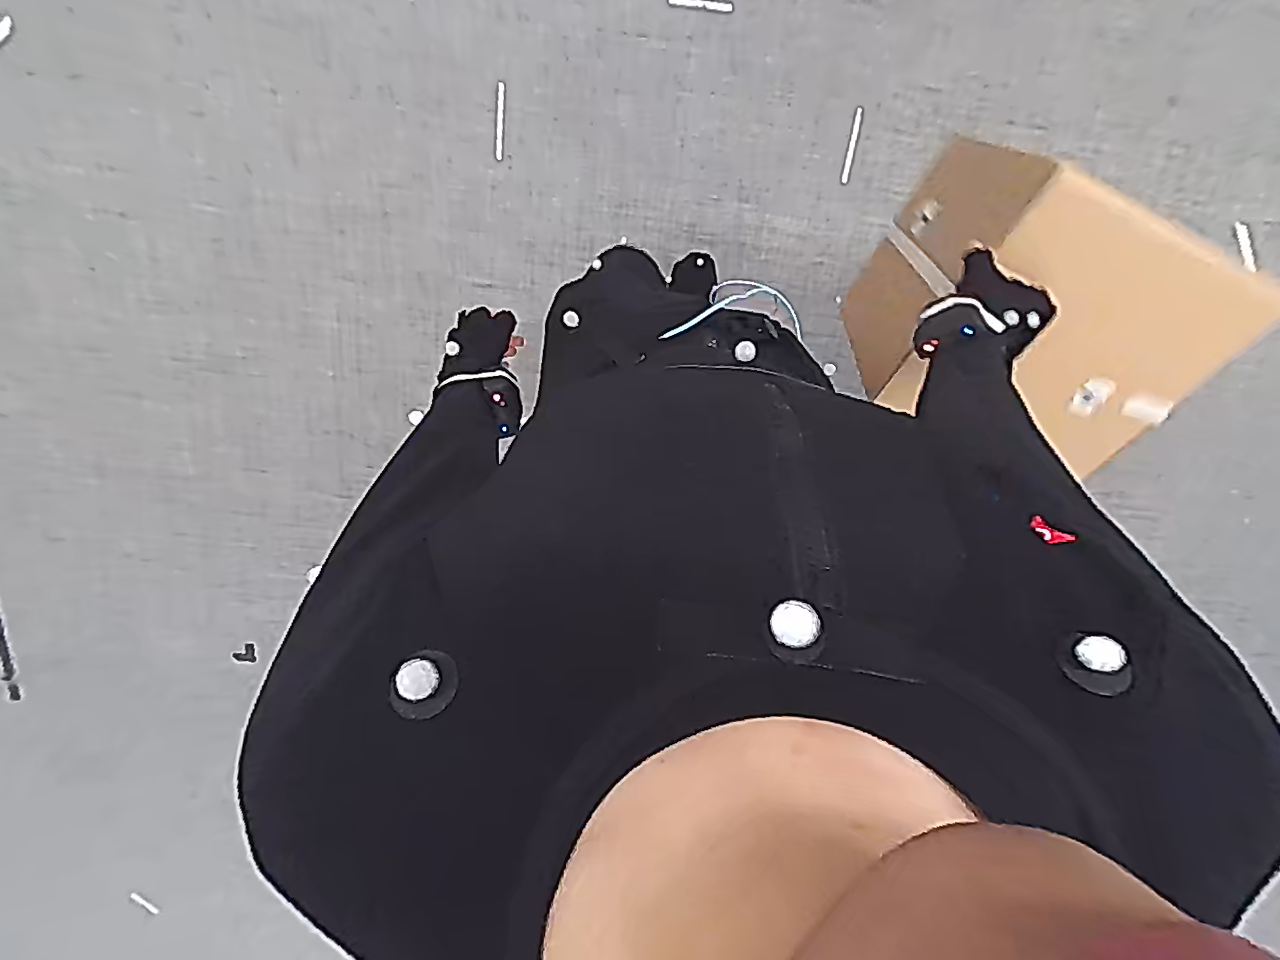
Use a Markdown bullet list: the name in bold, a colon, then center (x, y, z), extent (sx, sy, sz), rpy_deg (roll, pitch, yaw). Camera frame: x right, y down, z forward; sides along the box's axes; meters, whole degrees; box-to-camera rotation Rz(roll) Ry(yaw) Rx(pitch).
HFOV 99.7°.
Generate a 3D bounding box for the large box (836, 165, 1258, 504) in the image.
- **large box**: center (0.542, -0.238, 0.831), extent (0.320, 0.408, 0.320), rpy_deg (30, 126, -6)
